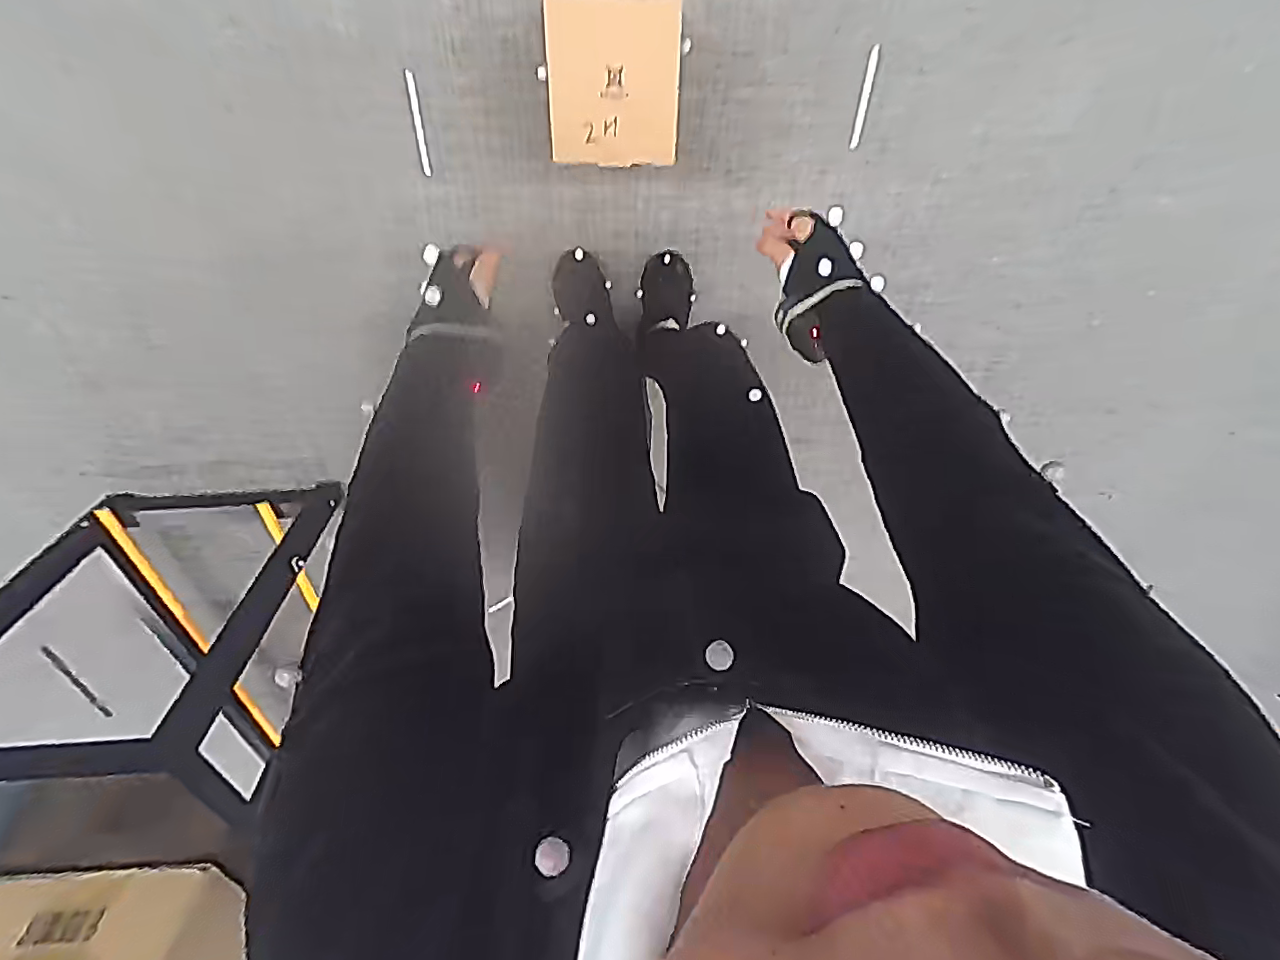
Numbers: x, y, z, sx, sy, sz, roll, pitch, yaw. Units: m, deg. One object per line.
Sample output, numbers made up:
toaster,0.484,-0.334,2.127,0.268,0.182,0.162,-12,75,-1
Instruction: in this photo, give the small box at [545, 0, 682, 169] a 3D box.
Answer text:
small box,-0.040,-0.540,0.745,0.168,0.176,0.179,-1,127,-4
